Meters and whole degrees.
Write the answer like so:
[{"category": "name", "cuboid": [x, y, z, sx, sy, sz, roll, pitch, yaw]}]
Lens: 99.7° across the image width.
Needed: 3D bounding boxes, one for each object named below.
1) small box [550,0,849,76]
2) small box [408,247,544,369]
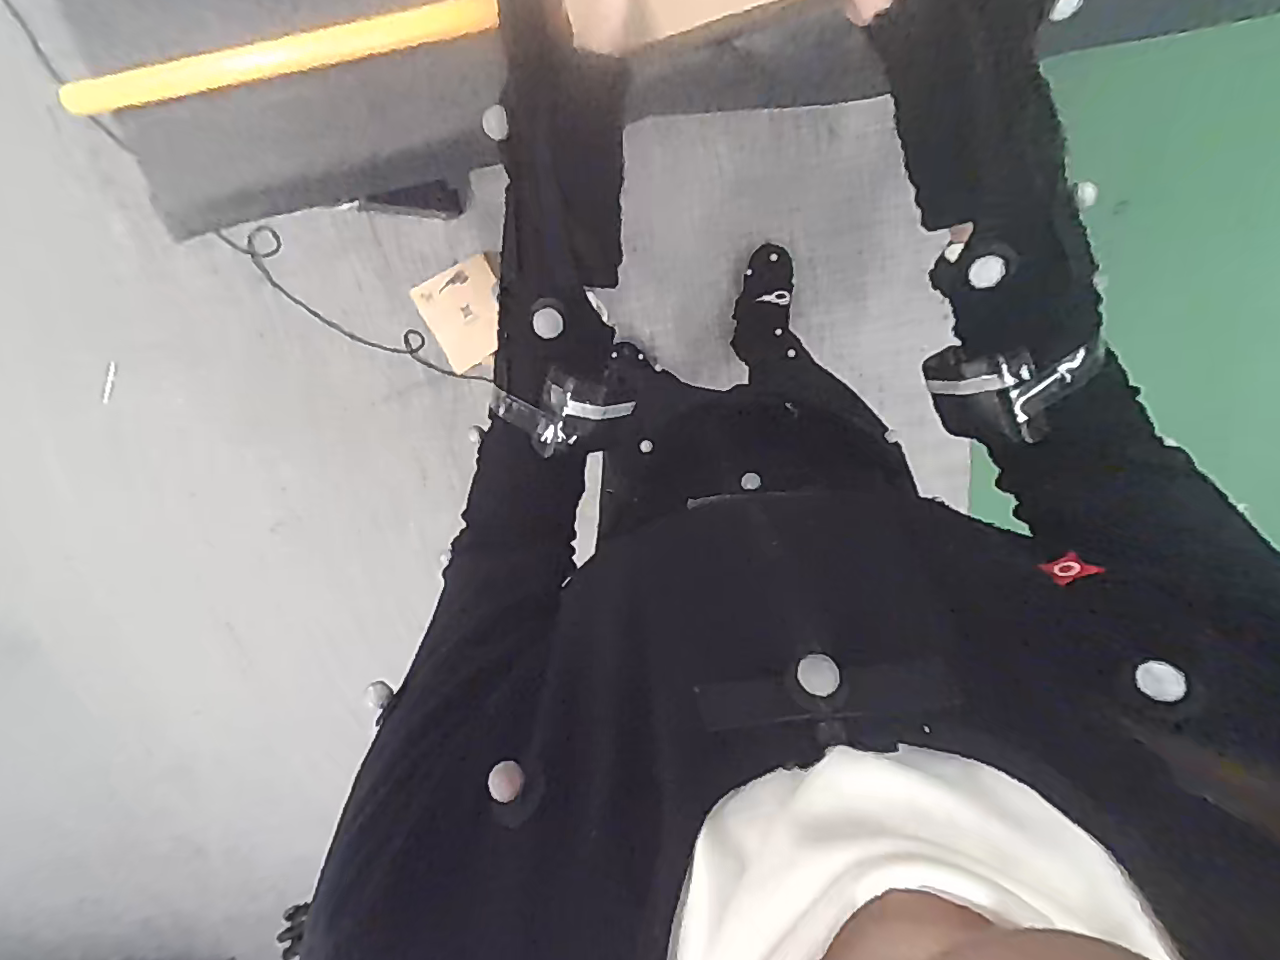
[{"category": "small box", "cuboid": [0.027, -0.313, 0.247, 0.168, 0.176, 0.179, -11, 124, 9]}, {"category": "small box", "cuboid": [-0.319, -0.352, 1.091, 0.168, 0.176, 0.179, -23, 110, 16]}]
